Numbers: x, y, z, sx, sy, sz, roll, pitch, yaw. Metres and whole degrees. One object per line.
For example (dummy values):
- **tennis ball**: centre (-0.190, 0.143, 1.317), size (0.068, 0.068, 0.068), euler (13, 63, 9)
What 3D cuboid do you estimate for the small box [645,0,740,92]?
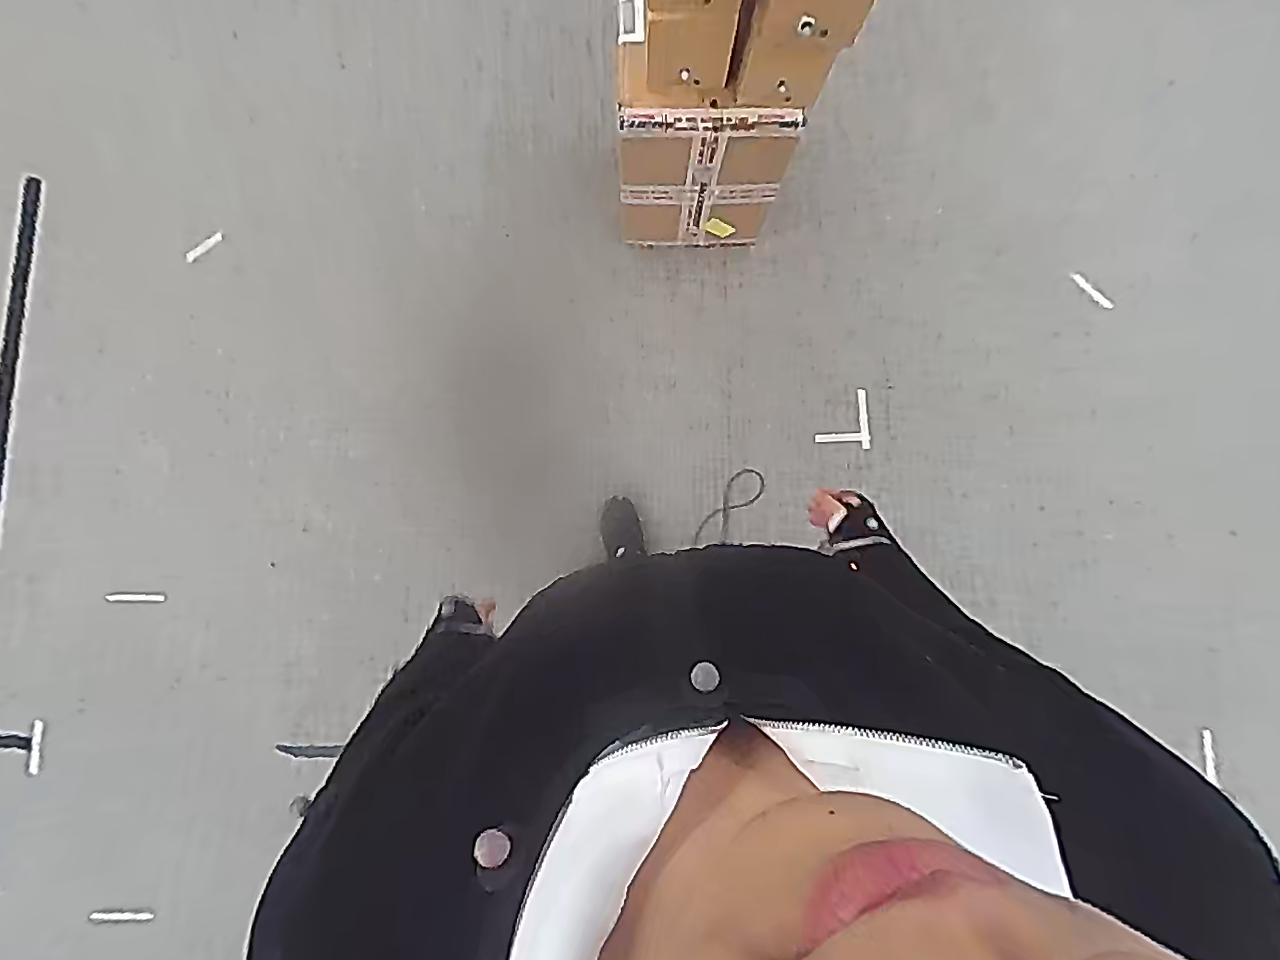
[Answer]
- **small box**: centre (0.095, -0.899, 1.048), size (0.168, 0.176, 0.179), euler (-2, 87, 0)

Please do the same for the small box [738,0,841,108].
- **small box**: centre (0.287, -0.869, 1.048), size (0.168, 0.176, 0.179), euler (0, 86, -2)

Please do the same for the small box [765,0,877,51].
- **small box**: centre (0.304, -0.859, 0.886), size (0.168, 0.176, 0.179), euler (1, 86, 0)

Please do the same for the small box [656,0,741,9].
- **small box**: centre (0.097, -0.922, 0.885), size (0.168, 0.176, 0.179), euler (0, 87, 1)
